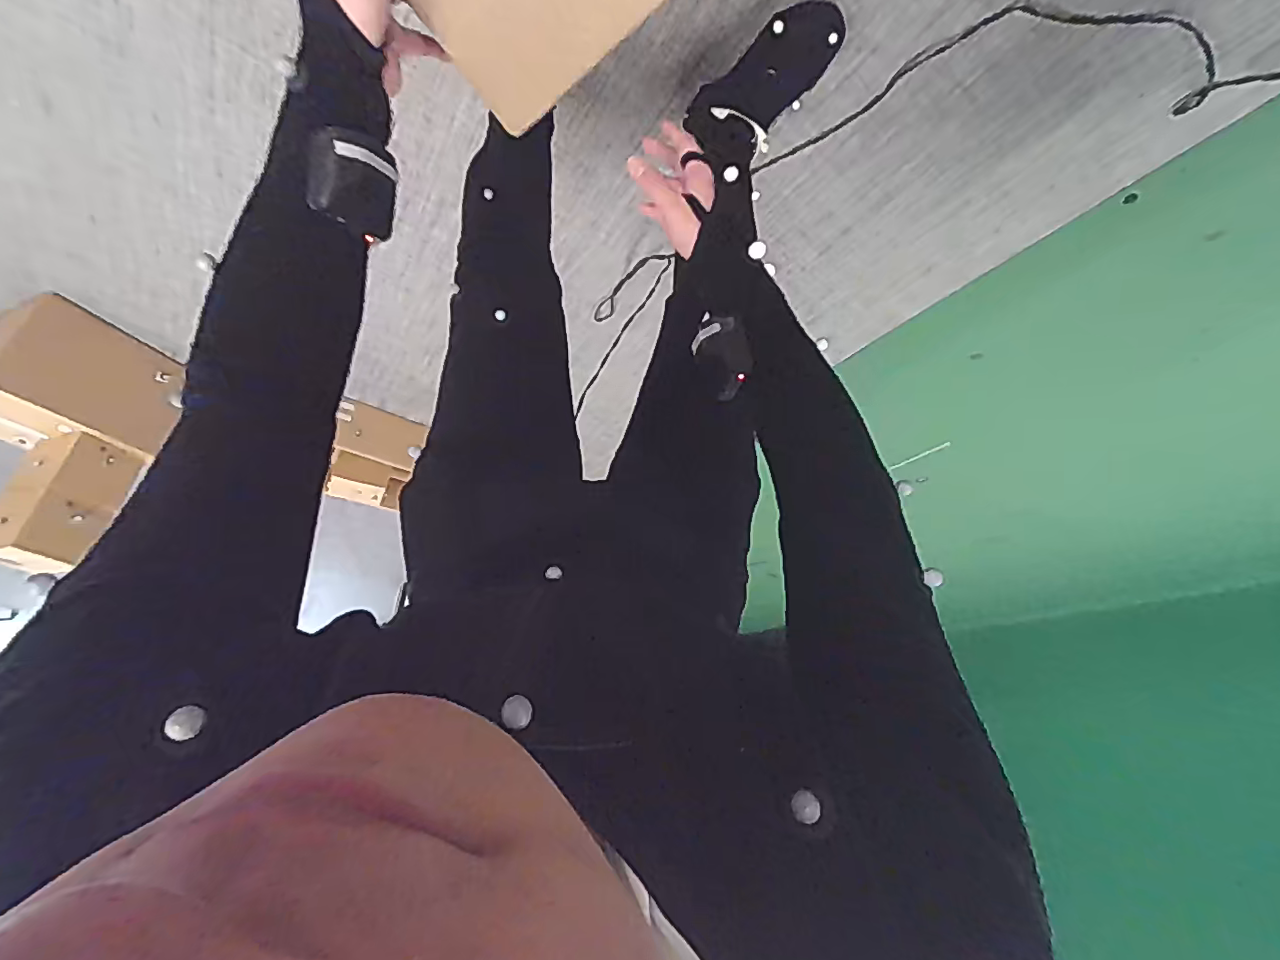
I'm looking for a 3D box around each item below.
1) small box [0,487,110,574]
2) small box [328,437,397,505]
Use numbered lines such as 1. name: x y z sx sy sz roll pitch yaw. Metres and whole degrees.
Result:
1. small box: -1.549 0.132 1.401 0.179 0.176 0.168 -6 150 12
2. small box: -0.997 -0.033 1.945 0.179 0.176 0.168 18 147 -27
